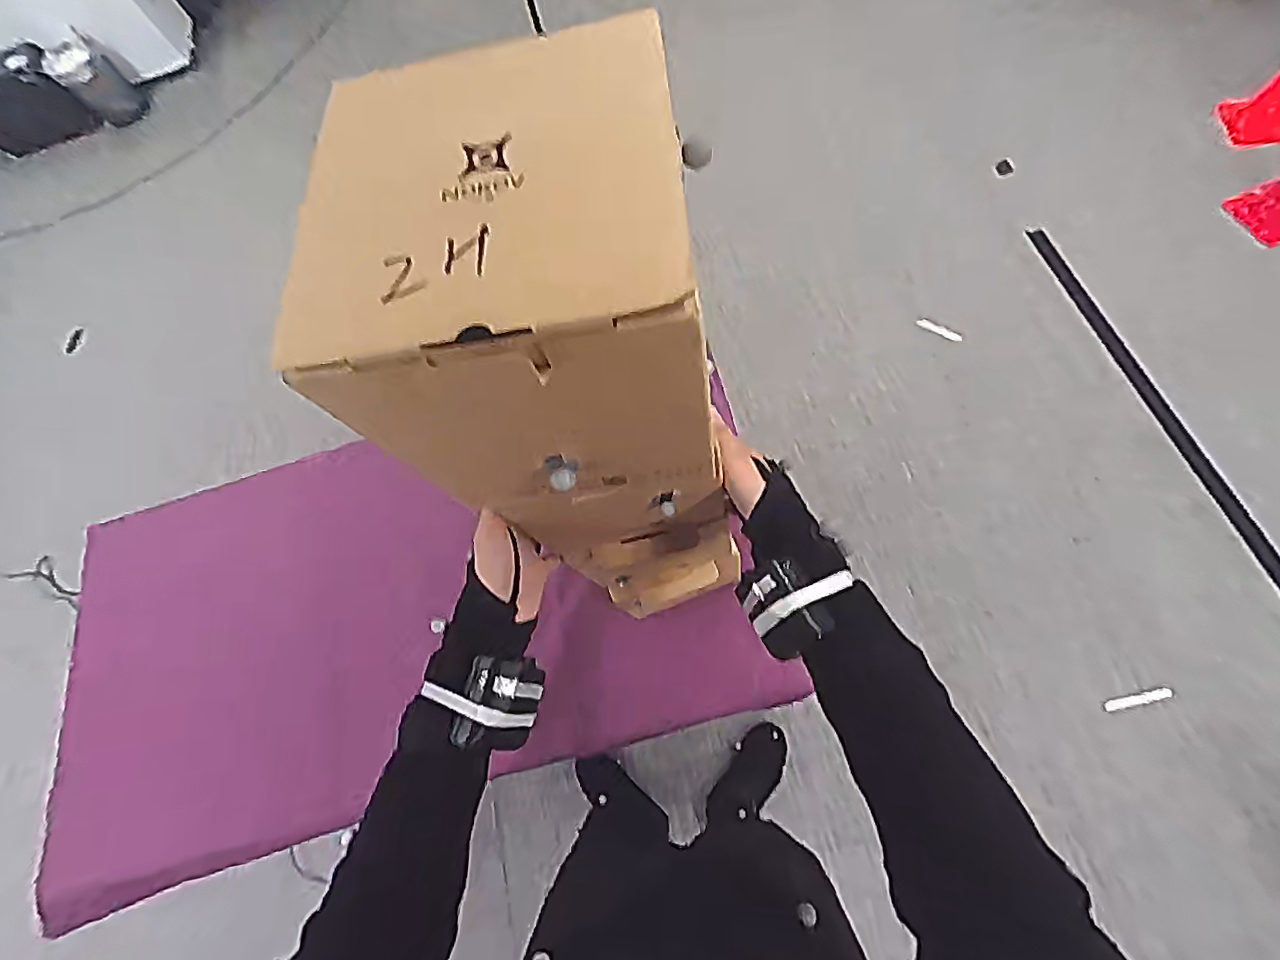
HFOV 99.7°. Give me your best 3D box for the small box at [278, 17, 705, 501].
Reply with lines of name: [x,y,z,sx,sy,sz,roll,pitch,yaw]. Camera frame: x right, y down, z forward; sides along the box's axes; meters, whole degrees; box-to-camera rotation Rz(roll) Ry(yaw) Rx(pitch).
small box: [-0.055,-0.102,0.308,0.168,0.176,0.179,-7,69,8]

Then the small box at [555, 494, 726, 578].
small box: [-0.002,0.004,0.613,0.168,0.176,0.179,-14,67,5]

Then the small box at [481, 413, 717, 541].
small box: [-0.032,-0.055,0.464,0.168,0.176,0.179,-13,67,5]
